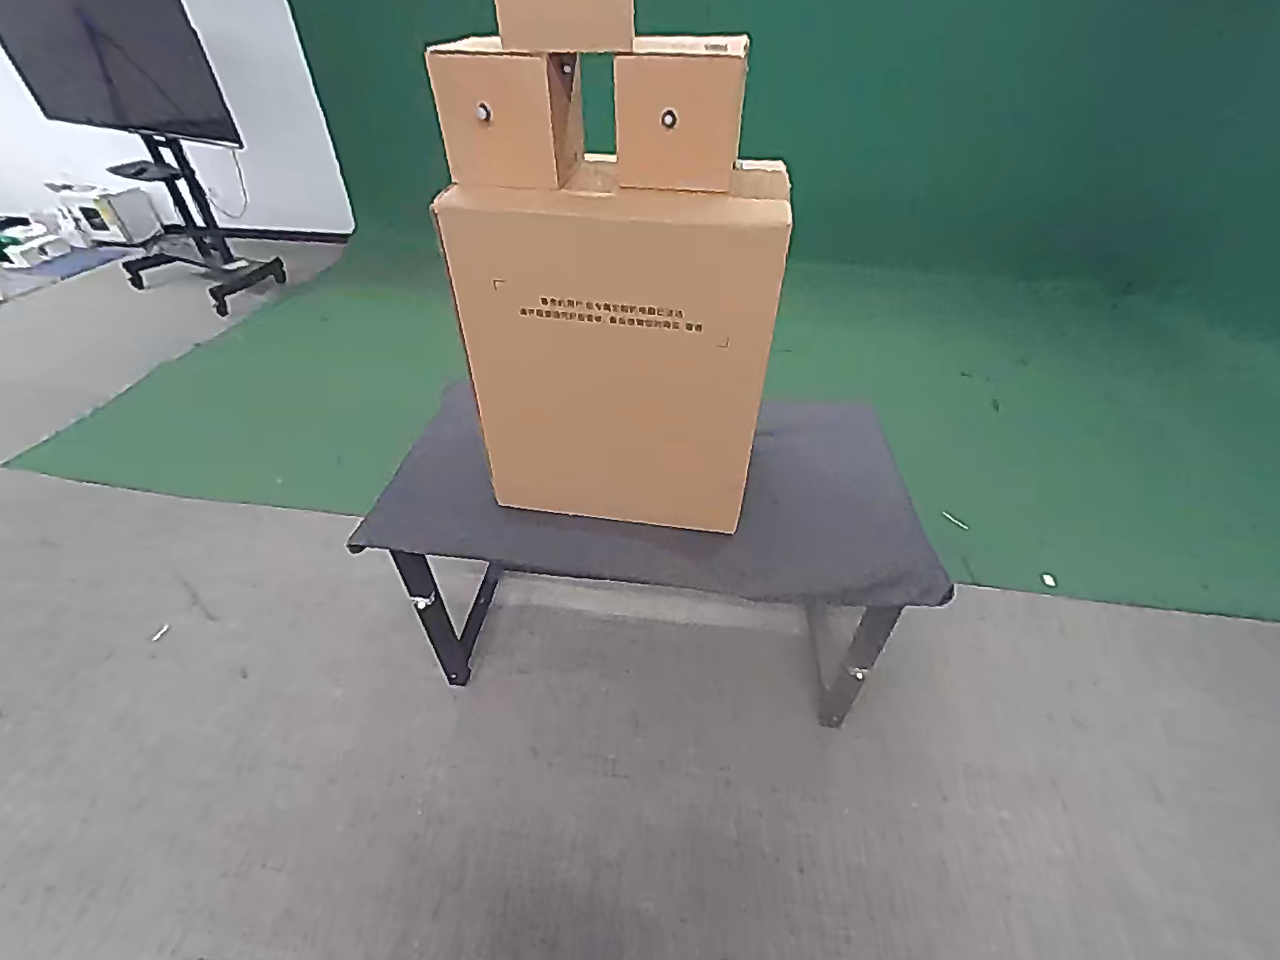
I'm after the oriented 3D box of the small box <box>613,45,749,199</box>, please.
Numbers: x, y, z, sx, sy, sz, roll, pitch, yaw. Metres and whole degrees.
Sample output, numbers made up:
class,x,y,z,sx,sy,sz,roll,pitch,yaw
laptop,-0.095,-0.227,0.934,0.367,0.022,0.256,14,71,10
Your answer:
class,x,y,z,sx,sy,sz,roll,pitch,yaw
small box,0.066,-0.547,0.829,0.179,0.176,0.168,7,45,9

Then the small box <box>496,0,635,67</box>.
class,x,y,z,sx,sy,sz,roll,pitch,yaw
small box,-0.095,-0.669,0.726,0.179,0.176,0.168,-1,43,1

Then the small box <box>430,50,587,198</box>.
class,x,y,z,sx,sy,sz,roll,pitch,yaw
small box,-0.192,-0.557,0.847,0.179,0.176,0.168,7,45,8
